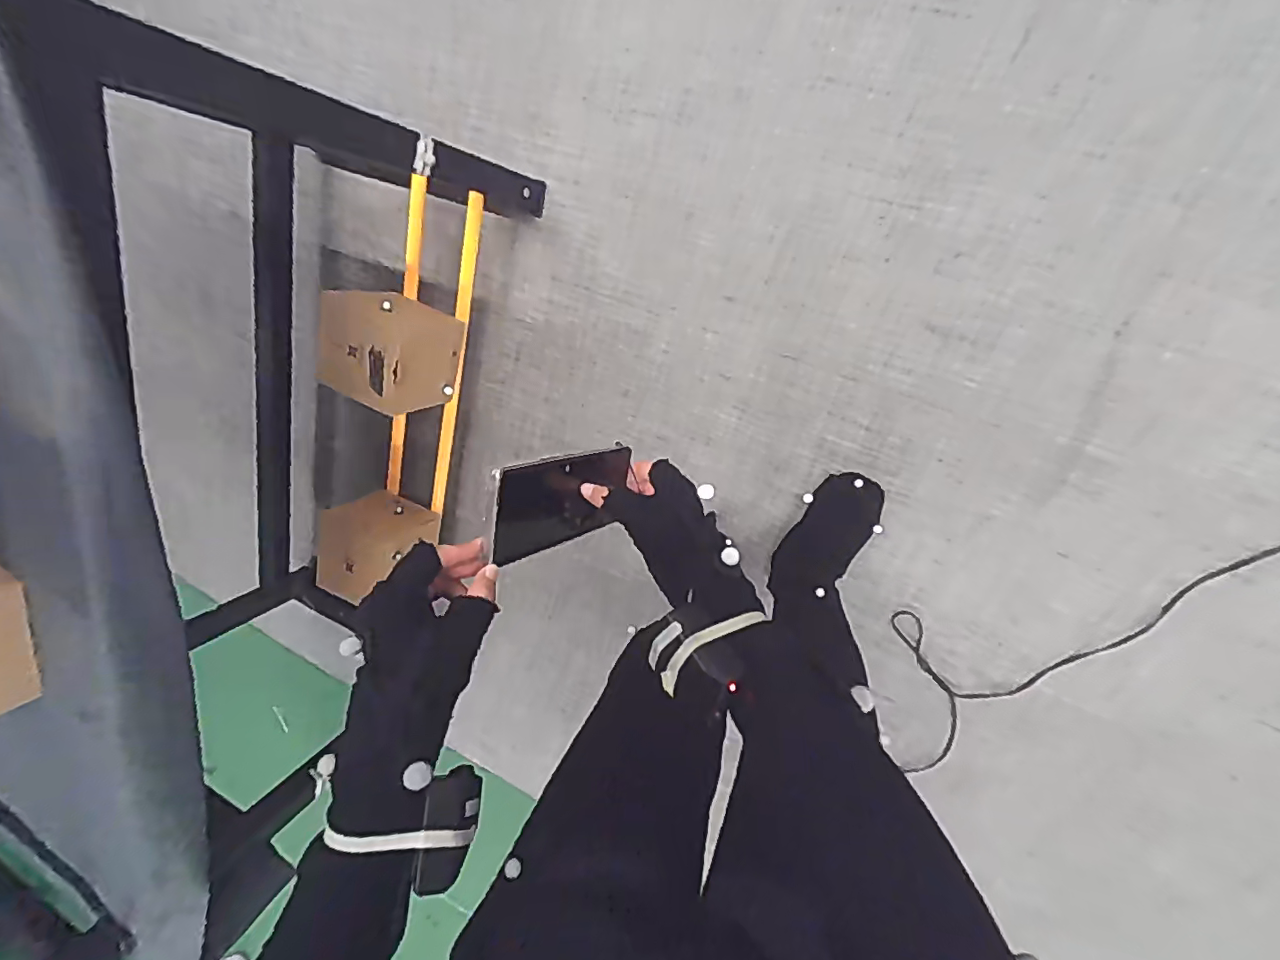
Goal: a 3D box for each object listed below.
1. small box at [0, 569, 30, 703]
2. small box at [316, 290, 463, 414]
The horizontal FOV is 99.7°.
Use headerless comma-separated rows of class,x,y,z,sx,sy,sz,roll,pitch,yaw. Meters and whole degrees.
small box,-0.794,0.169,0.560,0.168,0.176,0.179,25,114,13
small box,-0.455,-0.241,0.995,0.179,0.176,0.168,25,114,13
